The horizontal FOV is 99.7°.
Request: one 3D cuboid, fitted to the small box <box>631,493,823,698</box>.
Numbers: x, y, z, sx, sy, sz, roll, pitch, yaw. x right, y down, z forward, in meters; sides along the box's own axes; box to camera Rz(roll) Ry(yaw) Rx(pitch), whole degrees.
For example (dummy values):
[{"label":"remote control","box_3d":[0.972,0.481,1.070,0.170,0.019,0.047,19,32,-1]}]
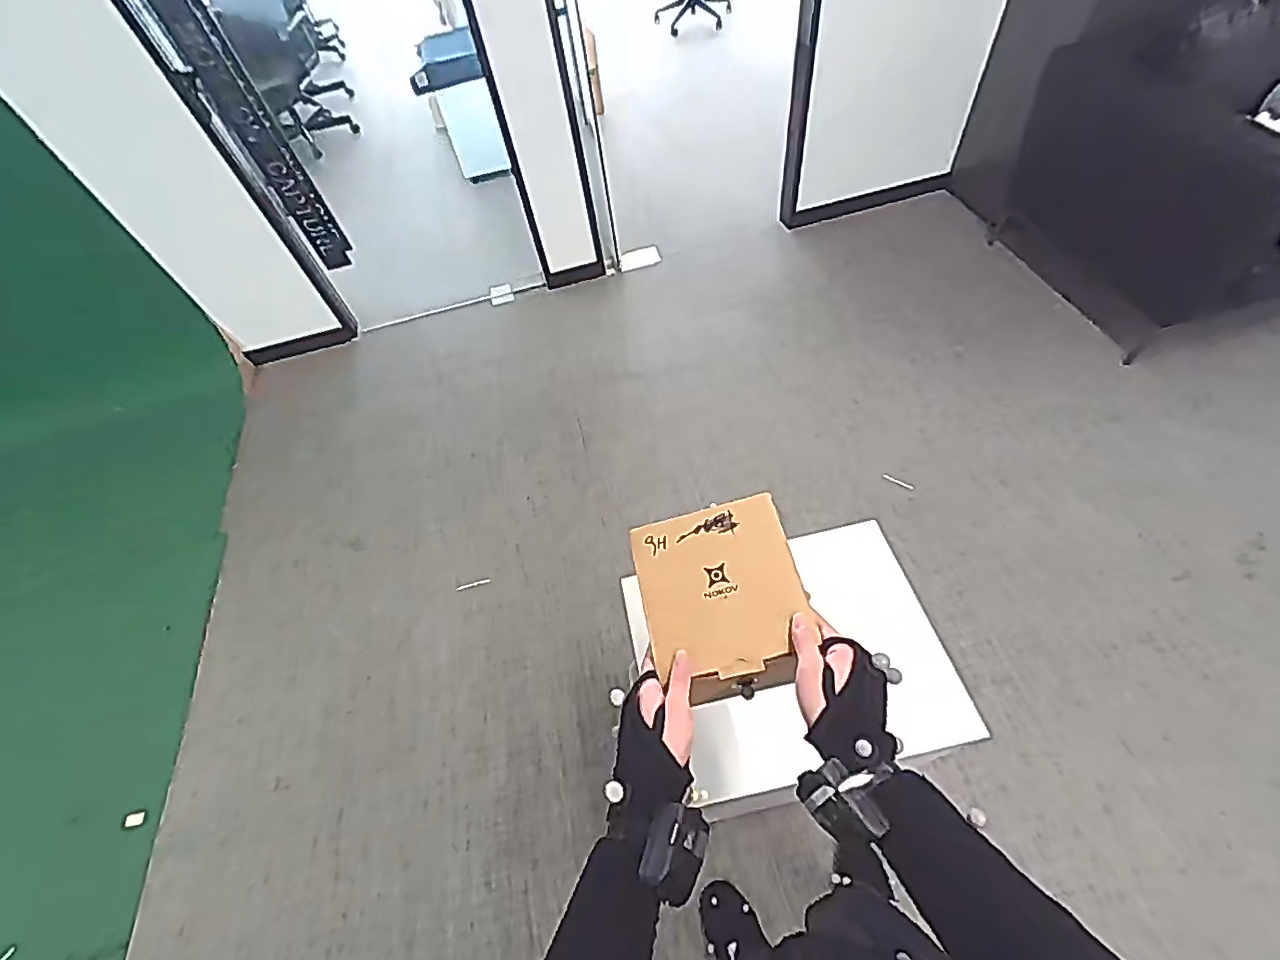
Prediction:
[{"label":"small box","box_3d":[0.102,0.146,0.637,0.168,0.176,0.179,-18,58,5]}]
